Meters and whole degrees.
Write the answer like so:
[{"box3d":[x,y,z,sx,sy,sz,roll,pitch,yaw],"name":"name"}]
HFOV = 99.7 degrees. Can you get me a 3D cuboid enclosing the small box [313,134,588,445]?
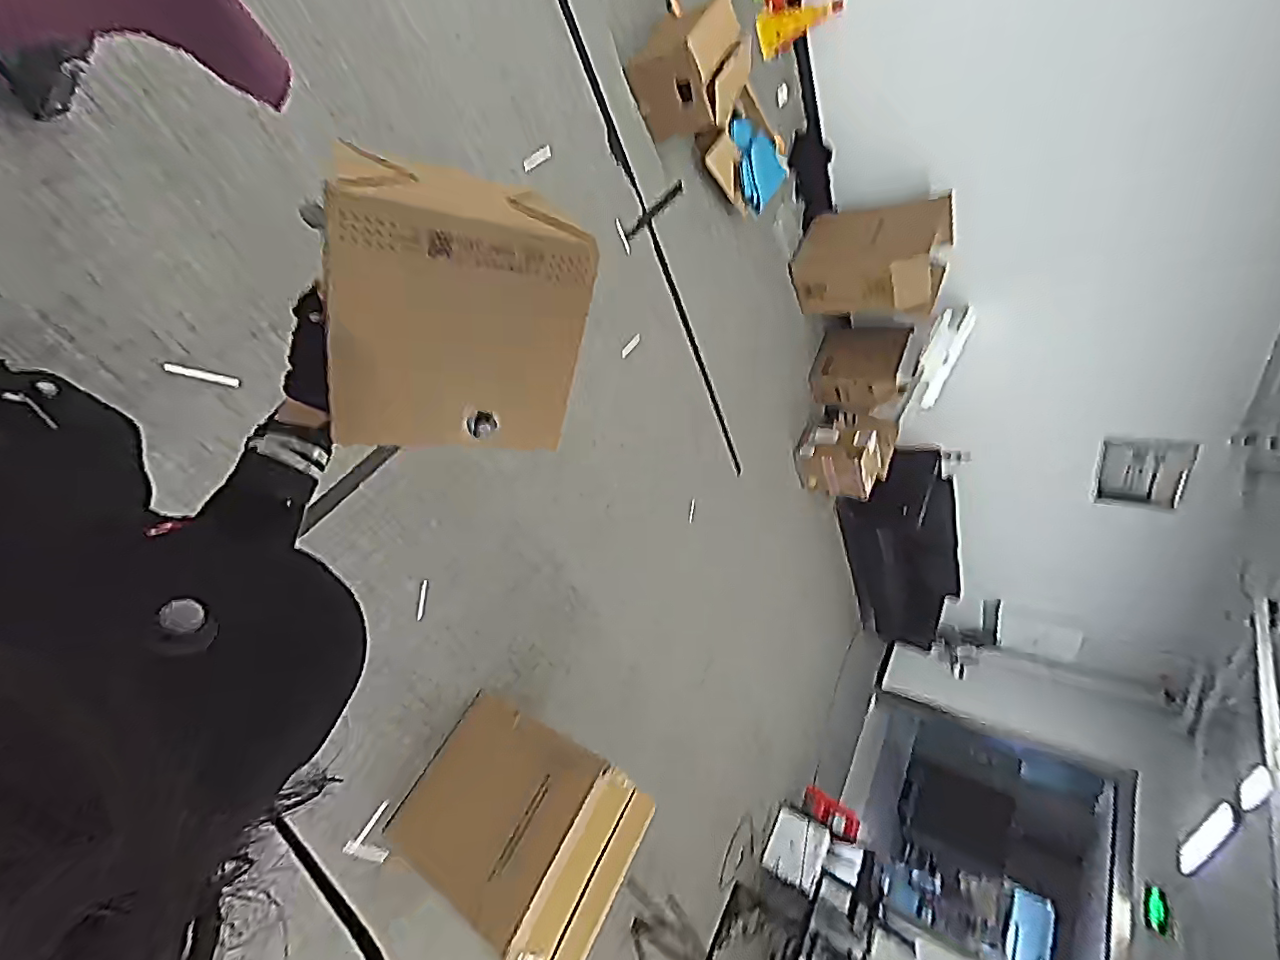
[{"box3d":[-0.152,-0.146,0.419,0.168,0.179,0.176,0,127,-27],"name":"small box"}]
